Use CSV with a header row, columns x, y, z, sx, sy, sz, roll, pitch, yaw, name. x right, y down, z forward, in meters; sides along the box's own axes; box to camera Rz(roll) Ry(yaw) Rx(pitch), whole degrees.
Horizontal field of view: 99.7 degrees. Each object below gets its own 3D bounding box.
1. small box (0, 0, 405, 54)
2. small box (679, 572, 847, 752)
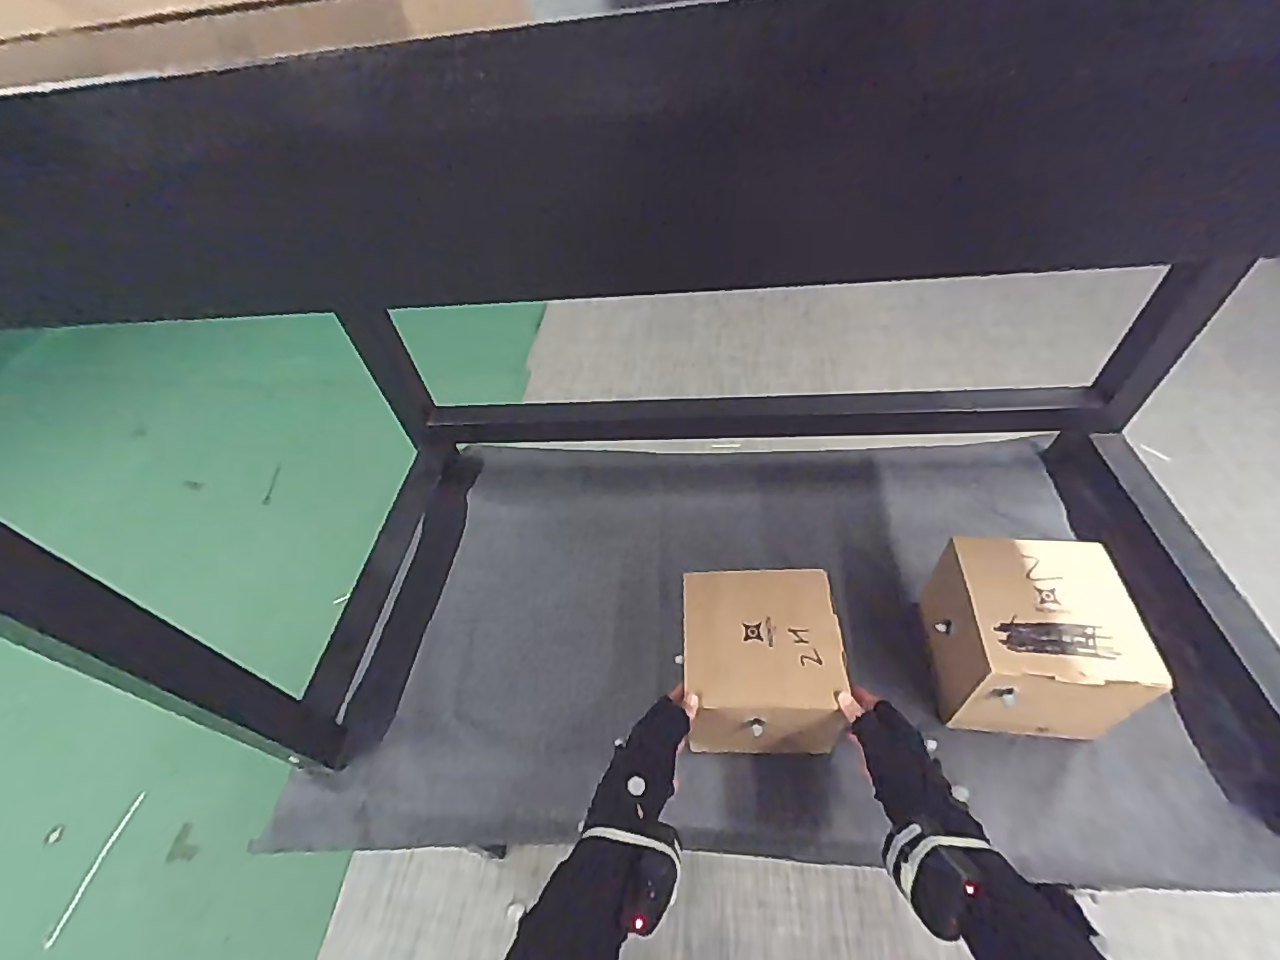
x,y,z,sx,sy,sz,roll,pitch,yaw,name
-0.162,-0.261,0.176,0.168,0.176,0.179,-2,48,7,small box
0.143,0.230,0.676,0.179,0.176,0.168,-2,49,7,small box
